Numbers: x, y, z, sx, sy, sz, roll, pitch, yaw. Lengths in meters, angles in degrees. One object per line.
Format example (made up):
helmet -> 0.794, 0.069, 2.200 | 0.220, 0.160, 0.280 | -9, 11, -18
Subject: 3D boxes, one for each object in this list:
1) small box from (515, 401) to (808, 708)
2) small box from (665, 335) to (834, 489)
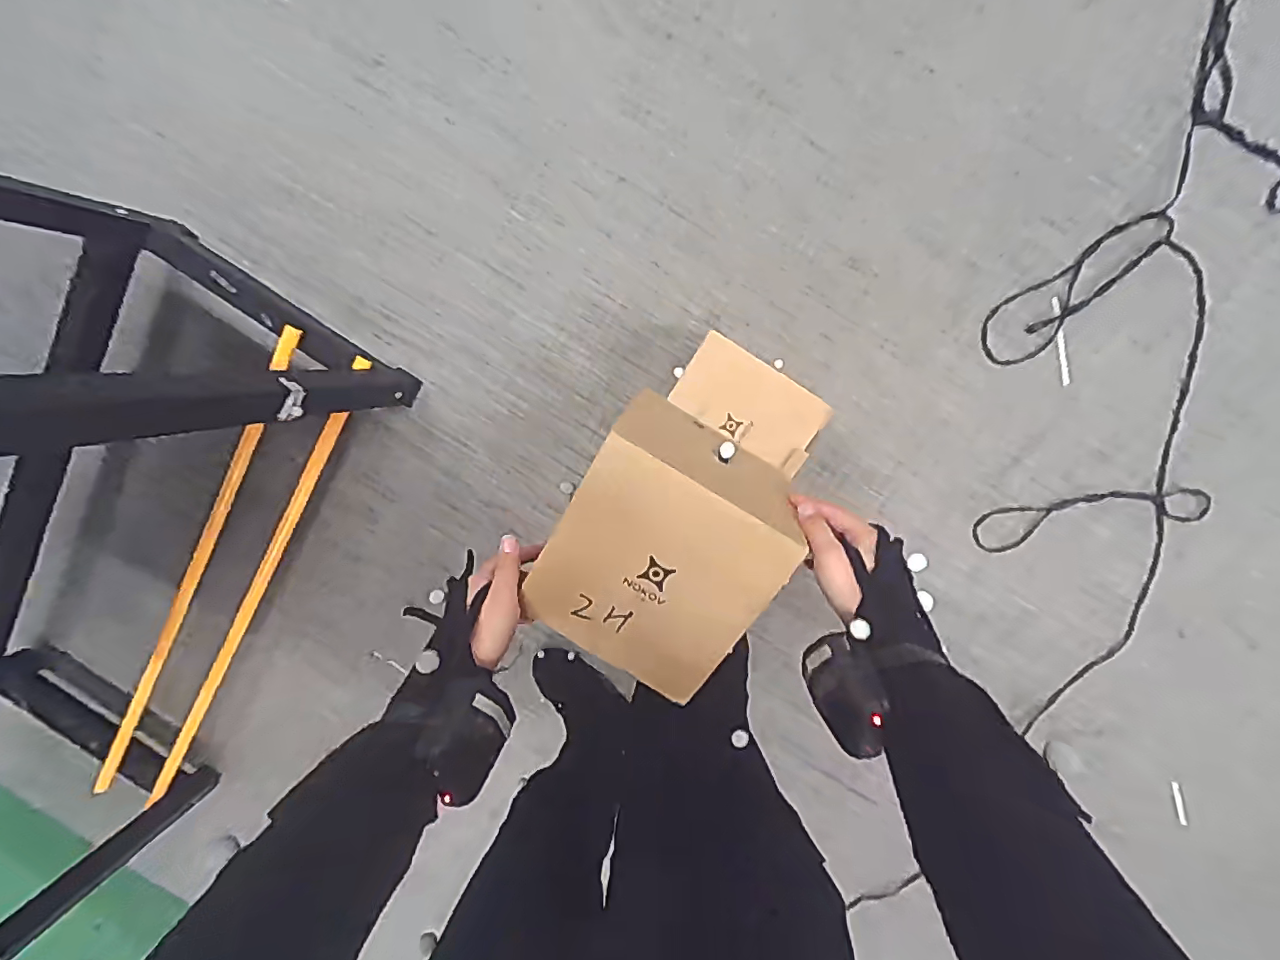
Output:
small box -> 0.021, 0.051, 0.481 | 0.168, 0.176, 0.179 | 31, 112, -1
small box -> 0.126, -0.076, 0.726 | 0.179, 0.176, 0.168 | 33, 104, 2
